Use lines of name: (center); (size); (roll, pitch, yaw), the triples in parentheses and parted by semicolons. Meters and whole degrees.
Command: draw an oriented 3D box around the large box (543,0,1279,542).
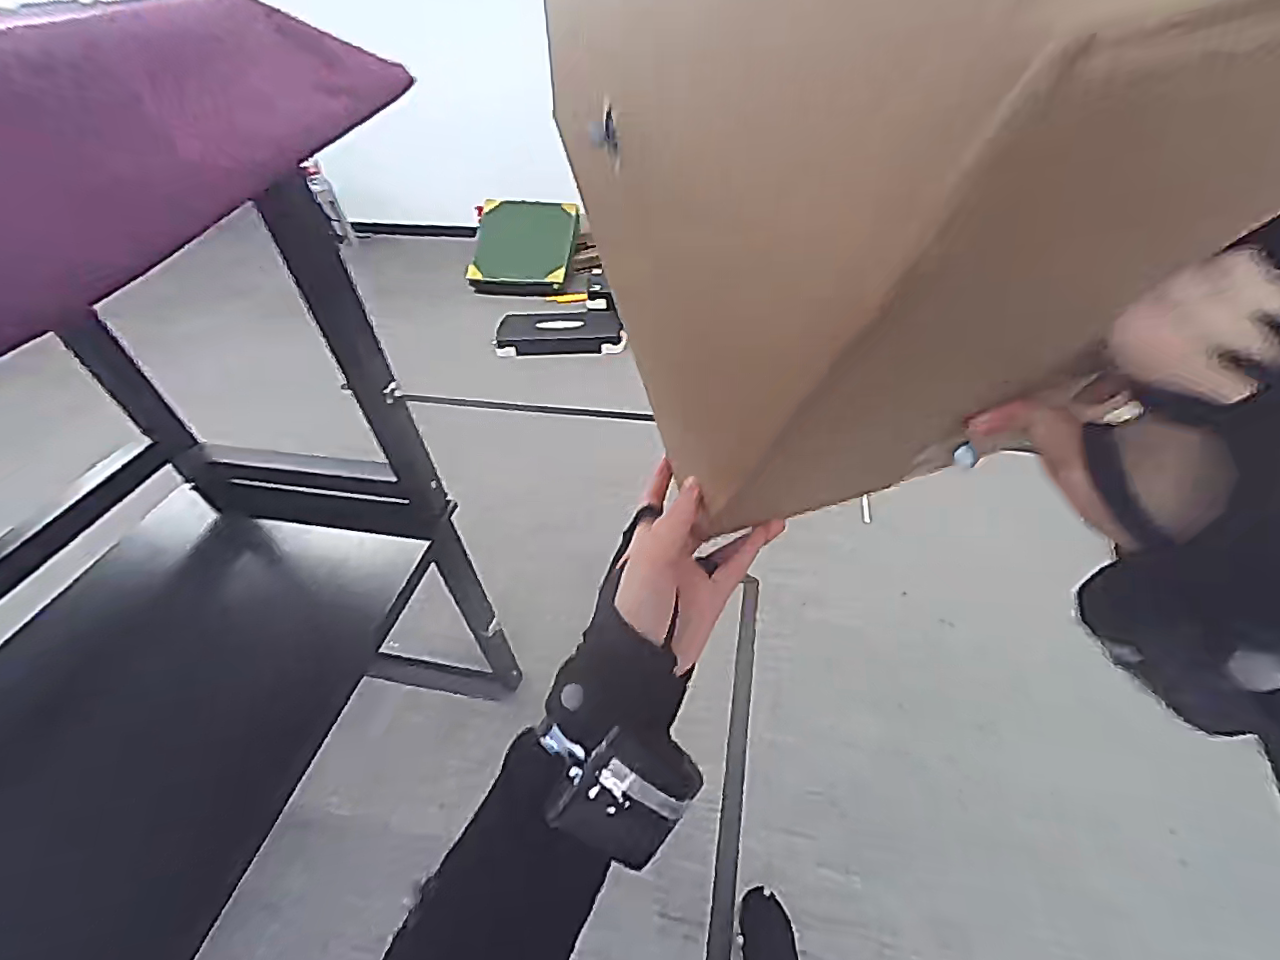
large box: (0.135, -0.224, 0.311); (0.320, 0.320, 0.408); (-15, 71, -9)
